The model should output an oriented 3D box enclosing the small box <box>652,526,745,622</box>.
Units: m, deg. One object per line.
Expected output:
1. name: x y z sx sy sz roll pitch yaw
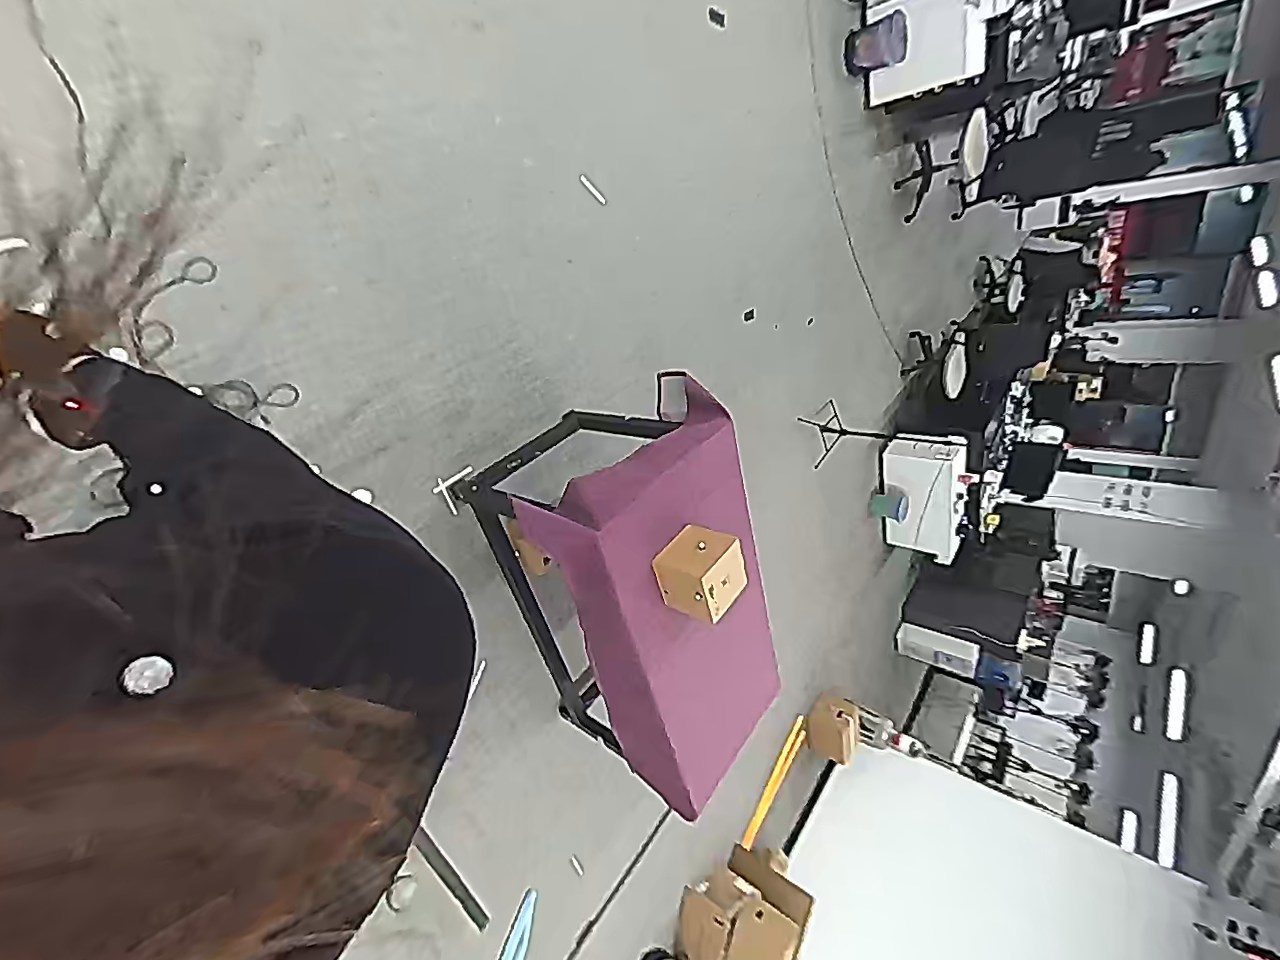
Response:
1. small box: 0.160 0.248 1.474 0.179 0.176 0.168 -41 127 -36
